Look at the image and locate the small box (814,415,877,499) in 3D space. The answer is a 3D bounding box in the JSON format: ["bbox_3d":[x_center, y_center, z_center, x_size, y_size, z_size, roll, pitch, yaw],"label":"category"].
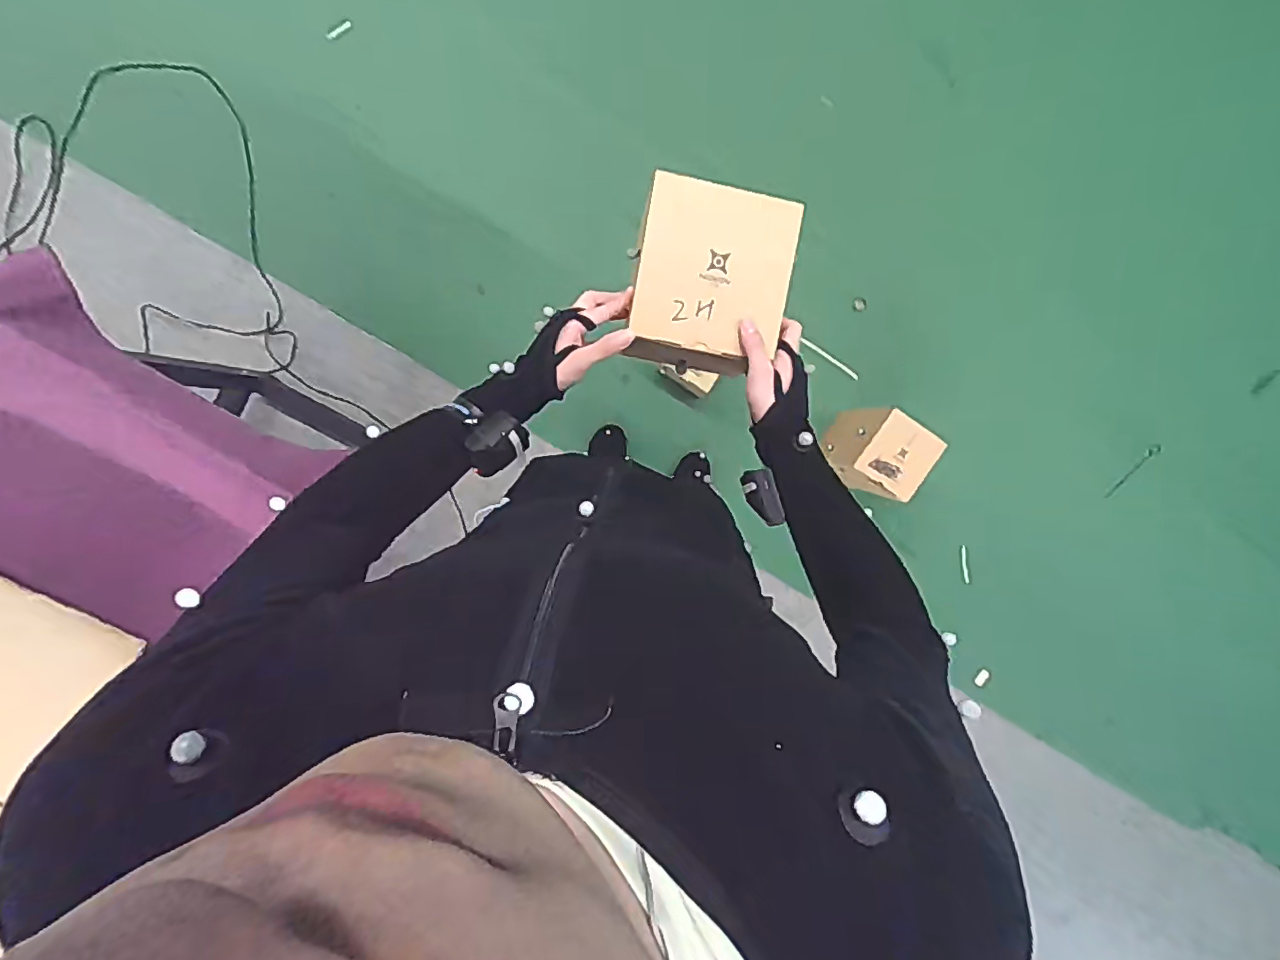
[{"bbox_3d":[0.629,-0.071,1.550,0.168,0.176,0.179,33,95,-4],"label":"small box"}]

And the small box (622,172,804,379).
[{"bbox_3d":[0.074,-0.229,0.653,0.168,0.176,0.179,10,95,-6],"label":"small box"}]

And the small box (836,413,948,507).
[{"bbox_3d":[0.632,-0.055,1.387,0.168,0.176,0.179,34,94,-5],"label":"small box"}]
